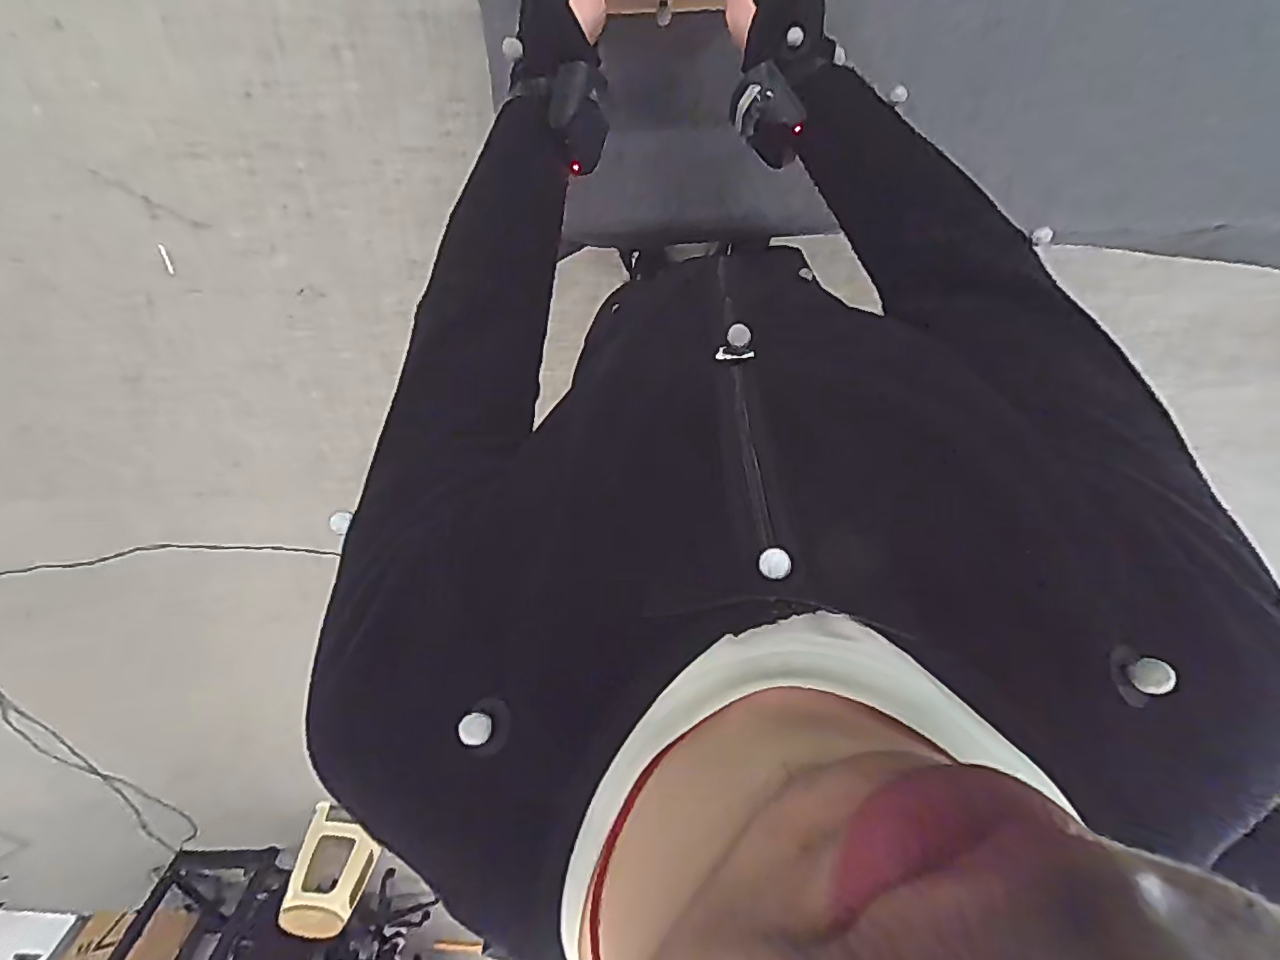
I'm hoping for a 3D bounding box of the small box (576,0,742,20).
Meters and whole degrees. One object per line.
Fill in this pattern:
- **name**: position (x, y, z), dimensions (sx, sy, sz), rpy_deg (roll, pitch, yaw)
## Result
- **small box**: position (0.021, -0.530, 0.478), dimensions (0.179, 0.176, 0.168), rpy_deg (-2, 121, 1)
